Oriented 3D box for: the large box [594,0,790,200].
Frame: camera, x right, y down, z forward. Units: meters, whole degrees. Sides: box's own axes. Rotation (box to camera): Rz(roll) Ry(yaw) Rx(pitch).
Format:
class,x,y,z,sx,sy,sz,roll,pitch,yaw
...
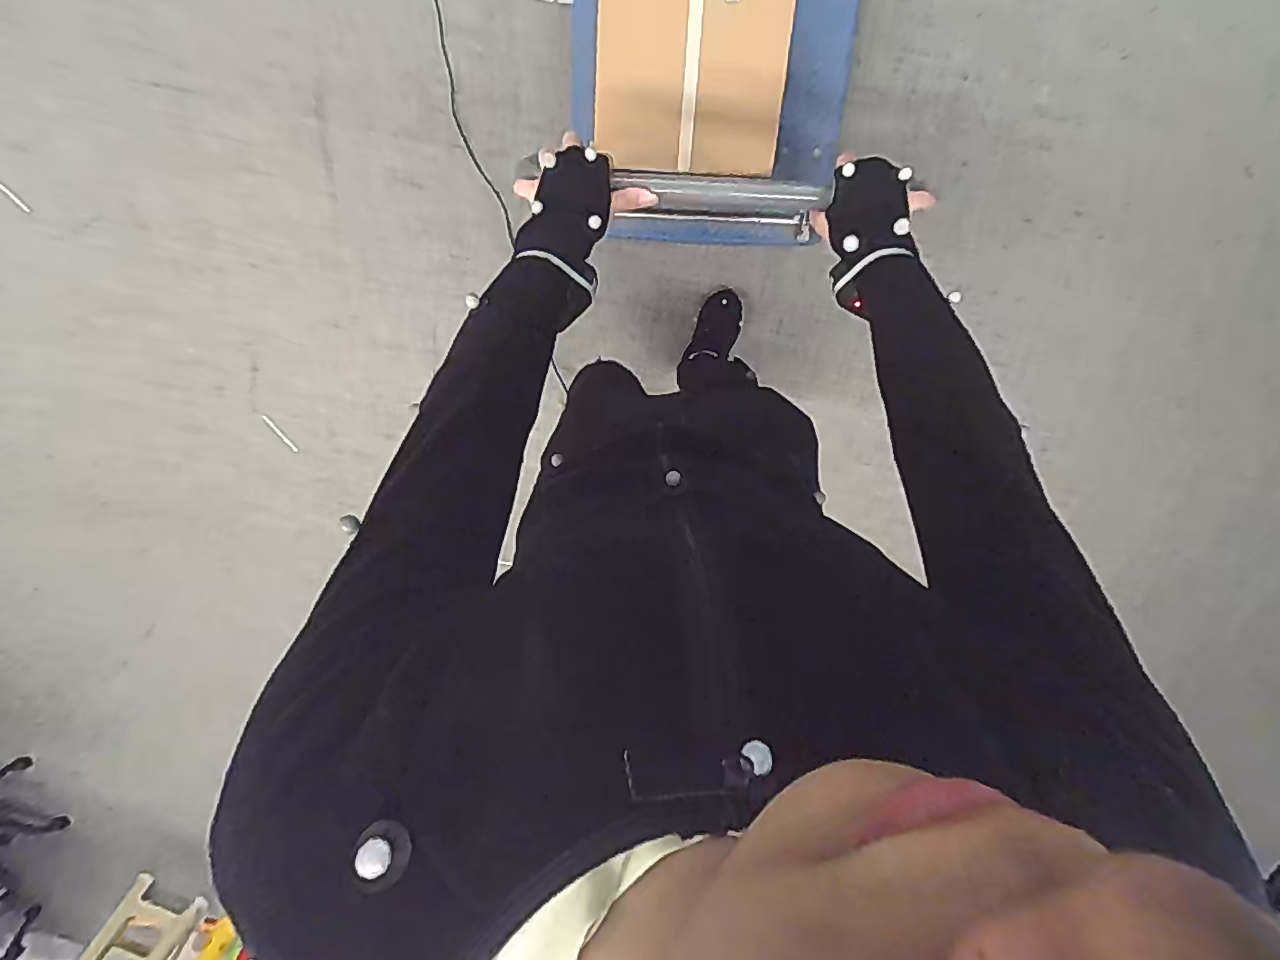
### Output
class,x,y,z,sx,sy,sz,roll,pitch,yaw
large box,0.093,-0.772,1.019,0.320,0.320,0.408,4,110,2
